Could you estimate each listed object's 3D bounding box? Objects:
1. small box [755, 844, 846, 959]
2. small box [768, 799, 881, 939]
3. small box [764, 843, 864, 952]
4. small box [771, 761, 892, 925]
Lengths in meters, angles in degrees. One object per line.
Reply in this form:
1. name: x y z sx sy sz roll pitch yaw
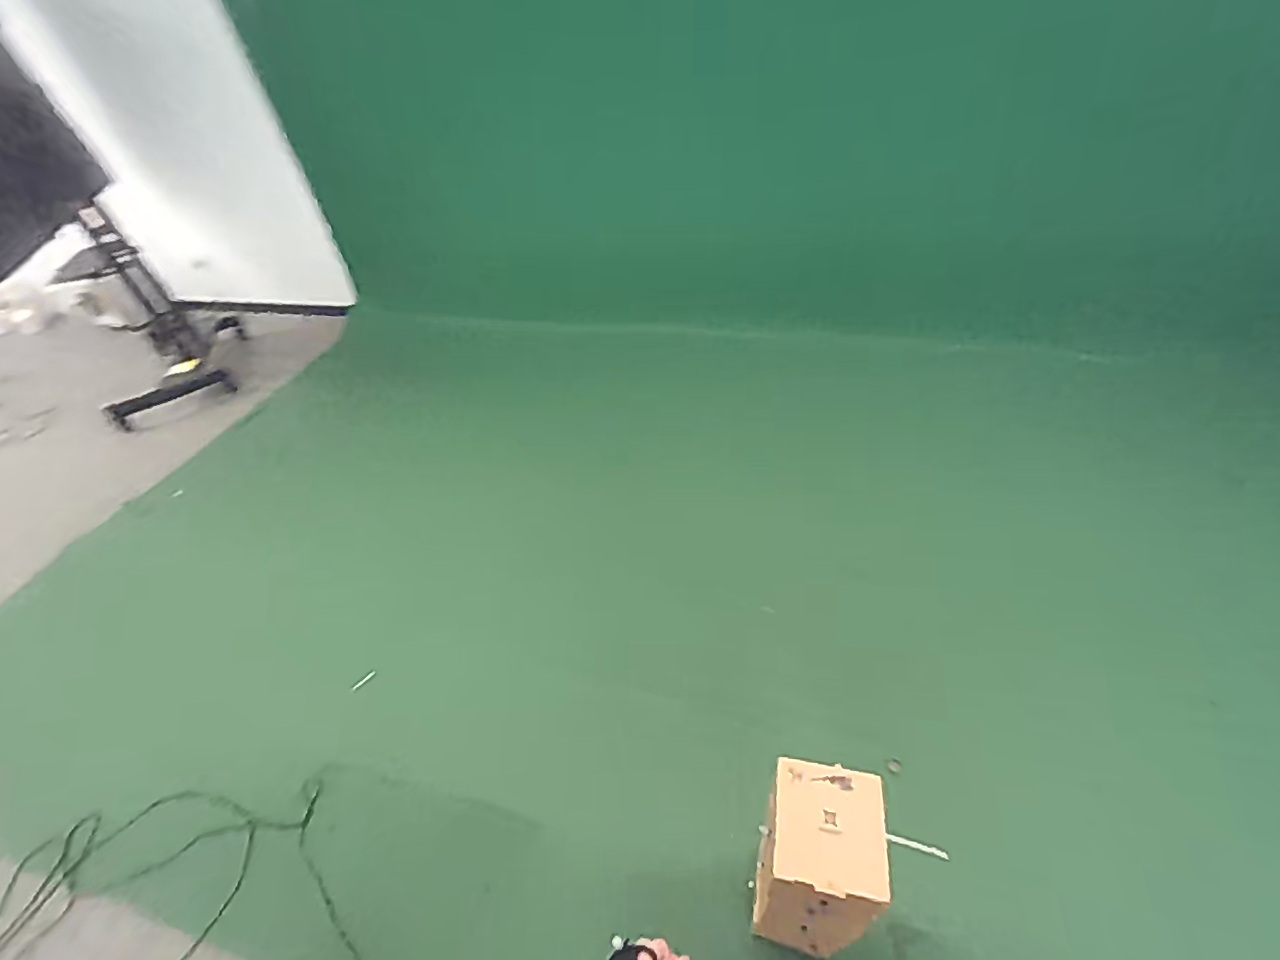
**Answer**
1. small box: 0.362 0.957 1.219 0.179 0.176 0.168 7 45 16
2. small box: 0.331 0.718 0.999 0.179 0.176 0.168 4 45 13
3. small box: 0.352 0.839 1.109 0.179 0.176 0.168 4 45 15
4. small box: 0.307 0.598 0.890 0.168 0.176 0.179 5 46 14
